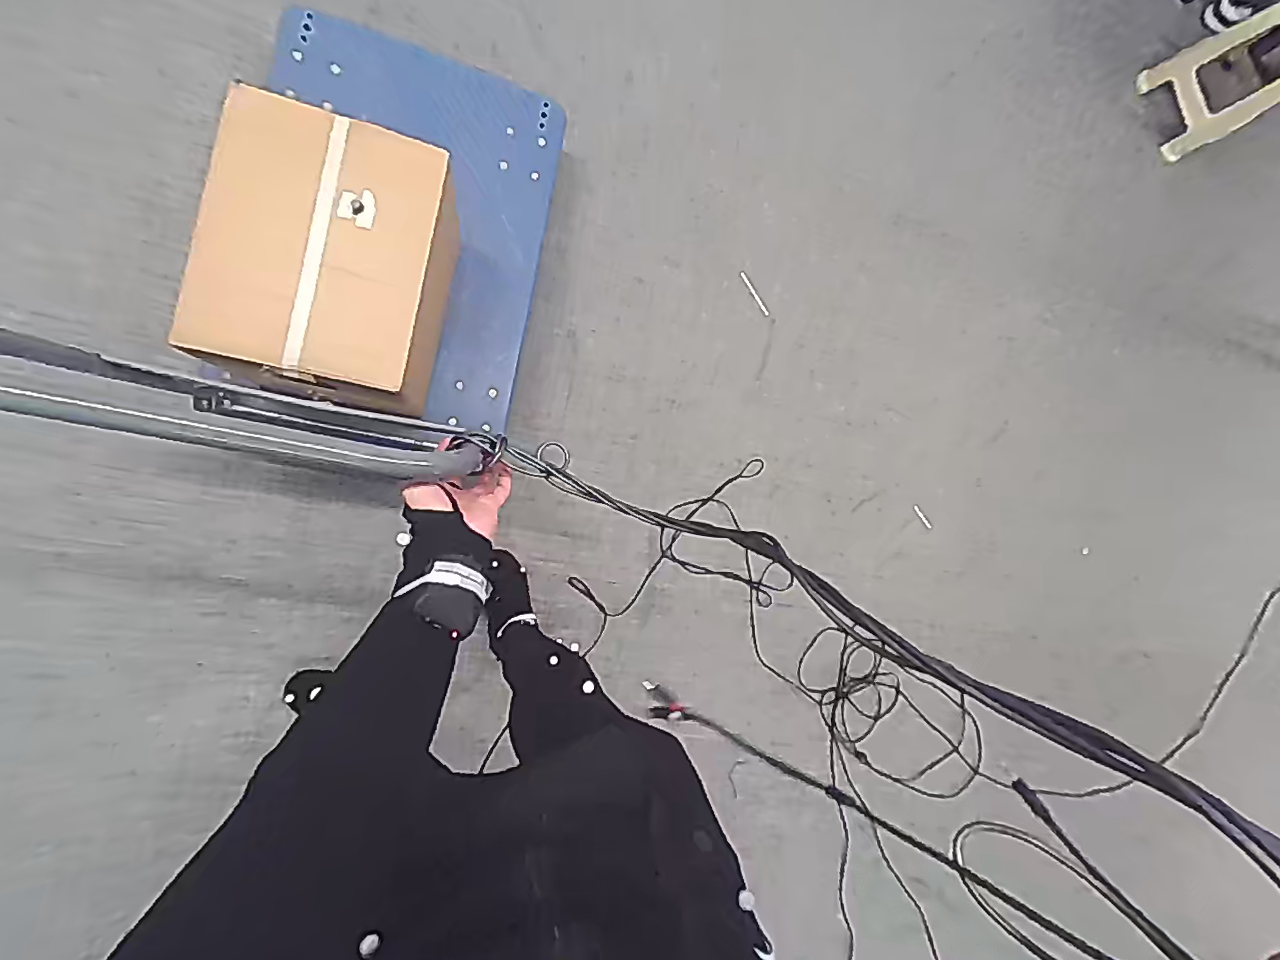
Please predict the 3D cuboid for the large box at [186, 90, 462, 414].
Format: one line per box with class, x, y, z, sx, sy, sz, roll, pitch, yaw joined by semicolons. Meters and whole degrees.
large box;-0.520;-0.358;0.974;0.320;0.320;0.408;11;86;-16
